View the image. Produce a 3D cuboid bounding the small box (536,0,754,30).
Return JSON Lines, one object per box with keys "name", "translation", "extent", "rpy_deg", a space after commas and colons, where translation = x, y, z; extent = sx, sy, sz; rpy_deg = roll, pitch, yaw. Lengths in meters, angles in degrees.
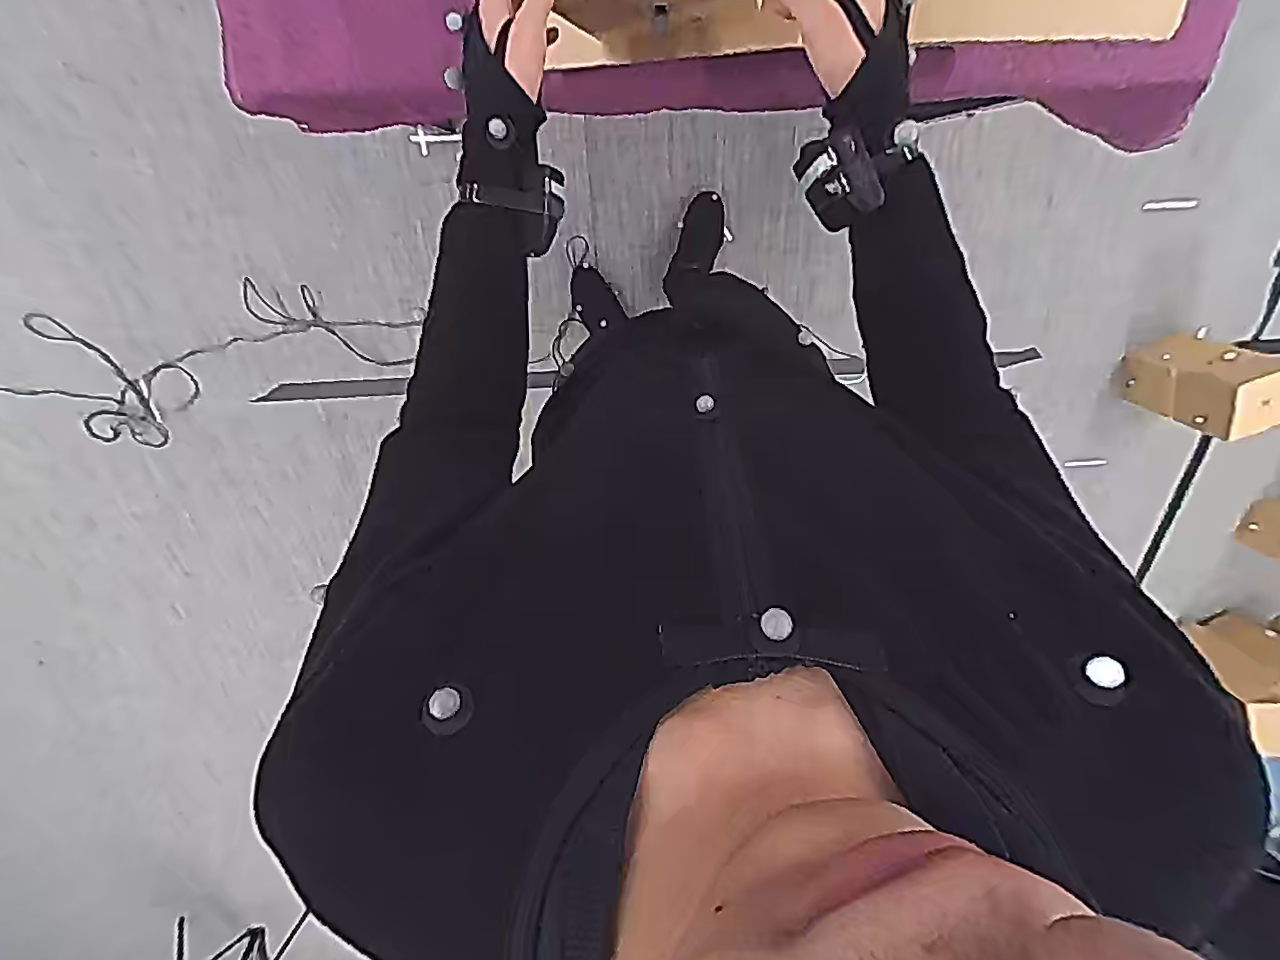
{"name": "small box", "translation": [0.008, -0.487, 0.429], "extent": [0.168, 0.176, 0.179], "rpy_deg": [3, 120, 15]}
